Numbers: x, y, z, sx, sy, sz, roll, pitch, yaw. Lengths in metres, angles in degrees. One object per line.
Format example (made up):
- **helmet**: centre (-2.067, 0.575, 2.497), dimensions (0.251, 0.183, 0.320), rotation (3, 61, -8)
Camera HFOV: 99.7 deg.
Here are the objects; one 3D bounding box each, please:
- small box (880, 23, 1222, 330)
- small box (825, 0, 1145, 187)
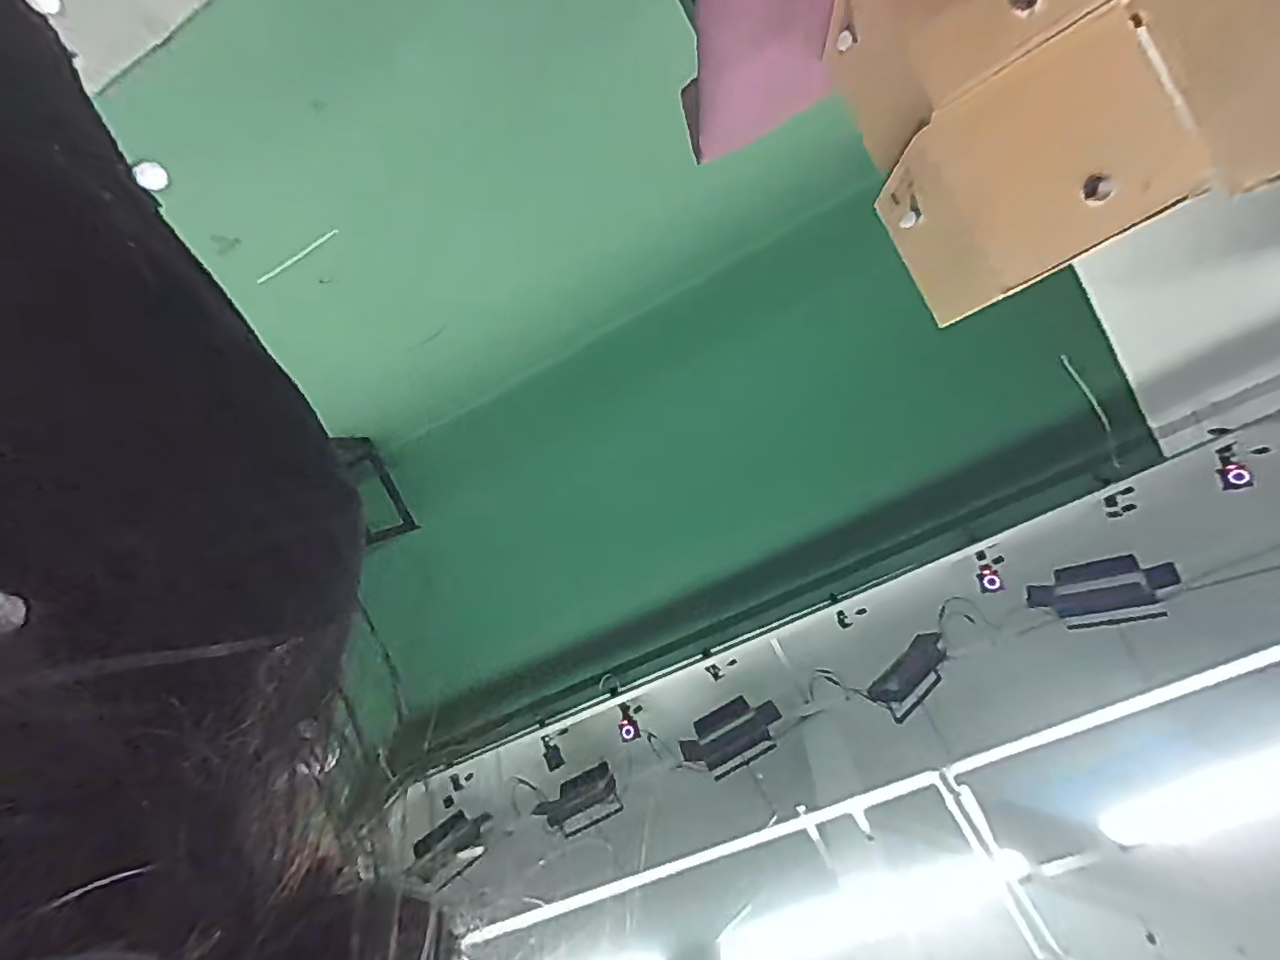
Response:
- **small box**: centre (0.372, -0.276, 0.528), dimensions (0.179, 0.176, 0.168), rotation (-28, 180, 12)
- **small box**: centre (0.303, -0.424, 0.507), dimensions (0.179, 0.176, 0.168), rotation (-28, 180, 13)
